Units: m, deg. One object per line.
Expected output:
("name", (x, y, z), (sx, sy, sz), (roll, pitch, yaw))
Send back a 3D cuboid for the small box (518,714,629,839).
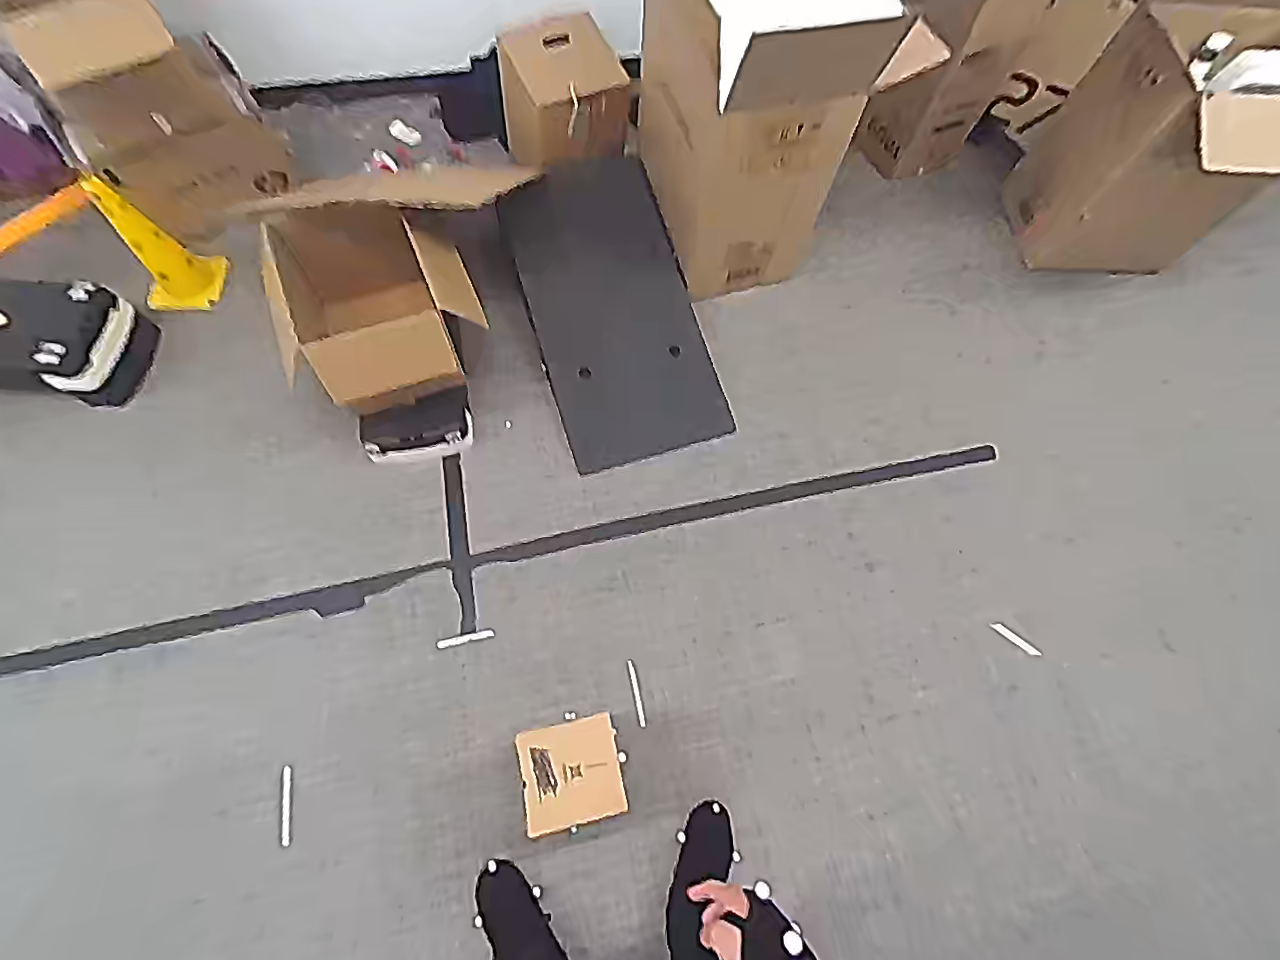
("small box", (-0.123, 0.551, 1.021), (0.179, 0.176, 0.168), (-10, 67, -9))
